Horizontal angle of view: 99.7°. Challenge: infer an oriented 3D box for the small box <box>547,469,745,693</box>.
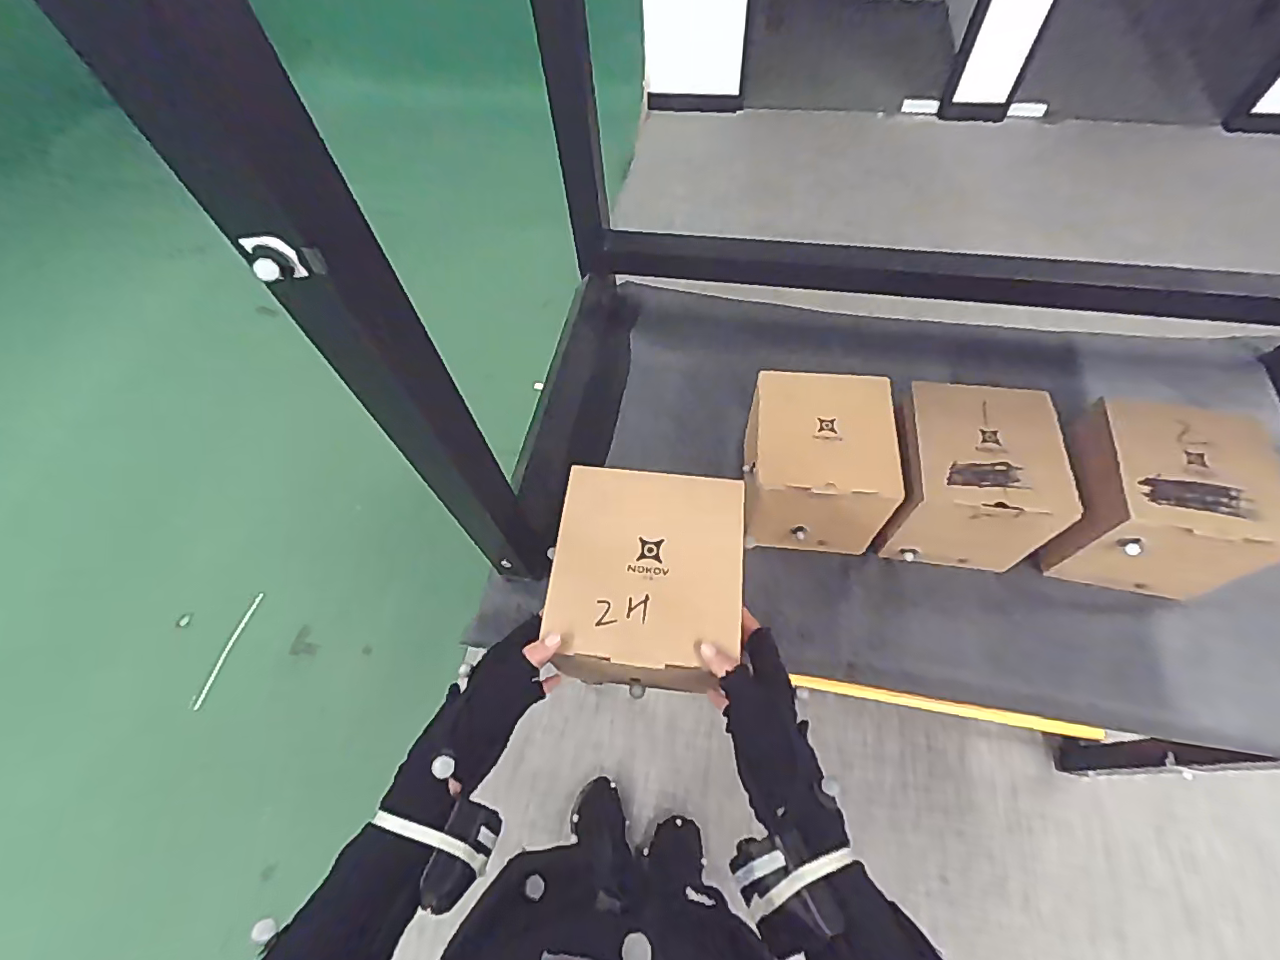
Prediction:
[{"bbox_3d":[0.012,0.110,0.560,0.168,0.176,0.179,5,62,4],"label":"small box"}]
